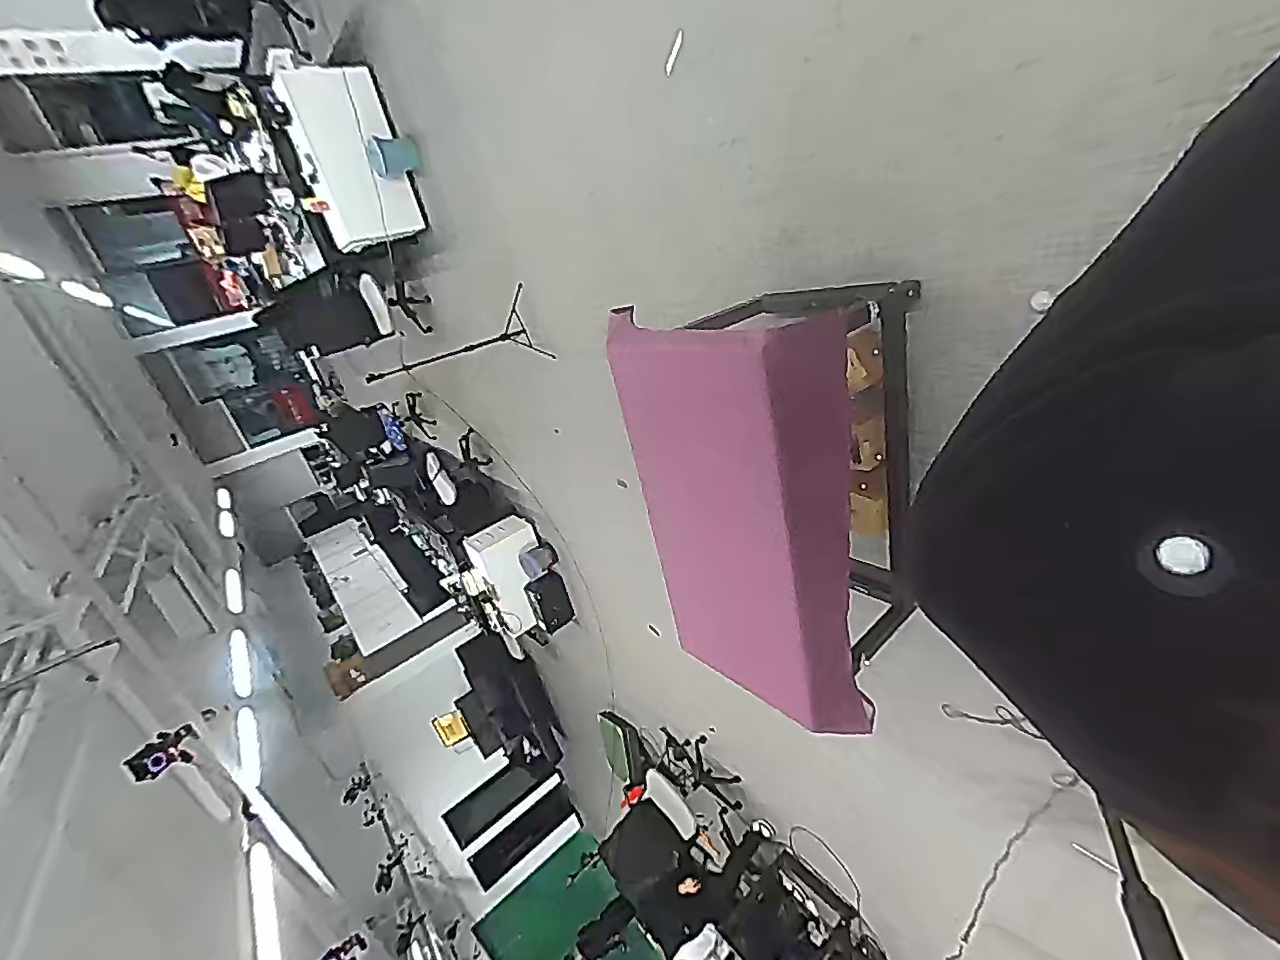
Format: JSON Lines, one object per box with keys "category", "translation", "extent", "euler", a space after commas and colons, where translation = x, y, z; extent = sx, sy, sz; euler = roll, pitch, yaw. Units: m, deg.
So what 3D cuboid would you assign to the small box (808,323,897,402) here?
{"category": "small box", "translation": [0.694, -0.384, 1.765], "extent": [0.168, 0.176, 0.179], "euler": [60, 151, 0]}
